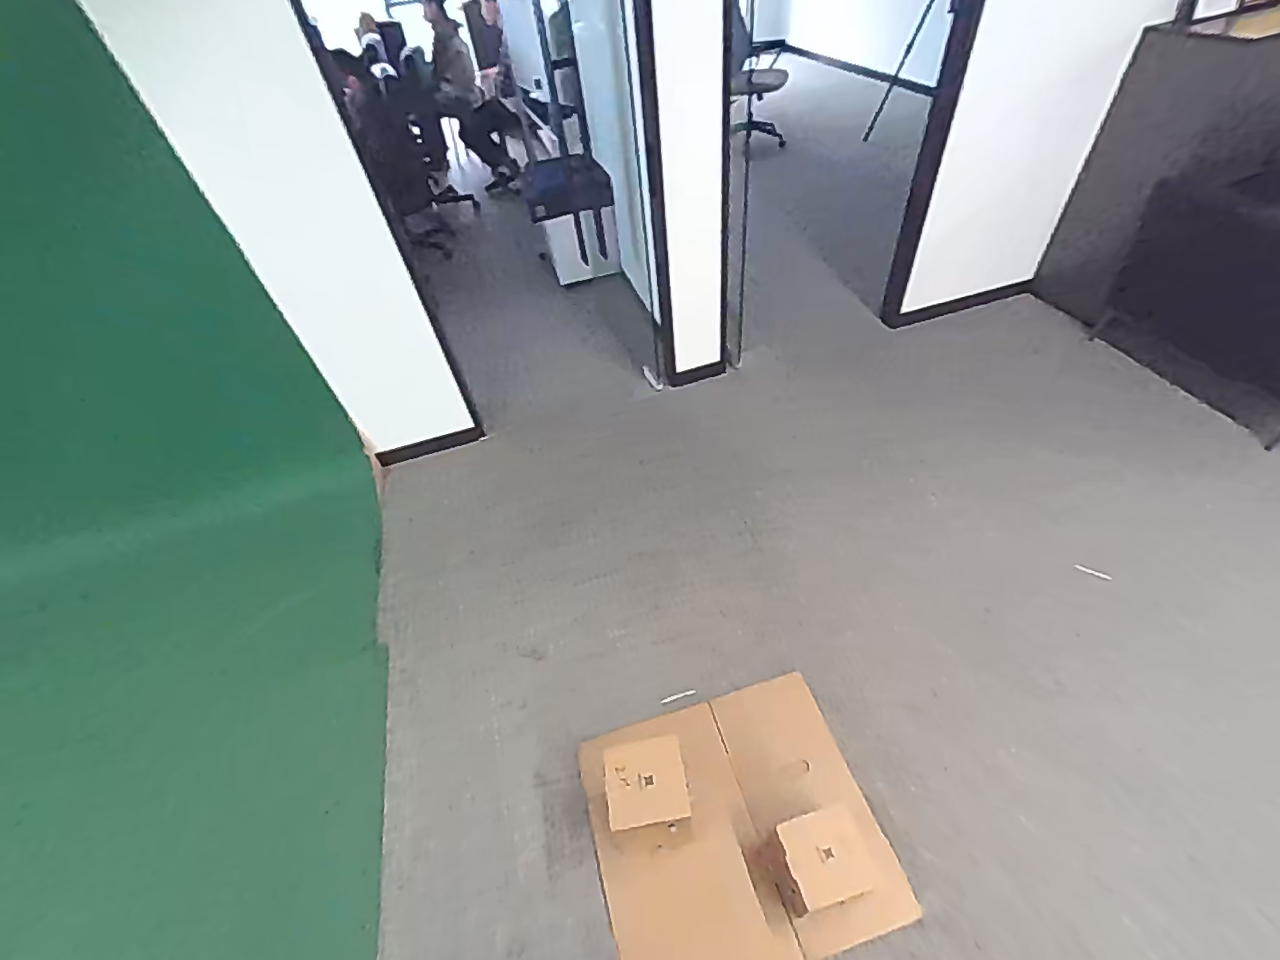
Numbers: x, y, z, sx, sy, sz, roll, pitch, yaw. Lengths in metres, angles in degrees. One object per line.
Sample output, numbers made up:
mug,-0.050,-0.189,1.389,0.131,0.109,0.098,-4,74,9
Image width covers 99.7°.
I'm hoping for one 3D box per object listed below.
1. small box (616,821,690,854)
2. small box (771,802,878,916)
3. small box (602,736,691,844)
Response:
small box,0.027,0.814,1.352,0.179,0.176,0.168,-9,47,-1
small box,0.412,0.876,1.246,0.179,0.176,0.168,-15,47,-6
small box,0.015,0.705,1.226,0.179,0.176,0.168,-10,46,-1
